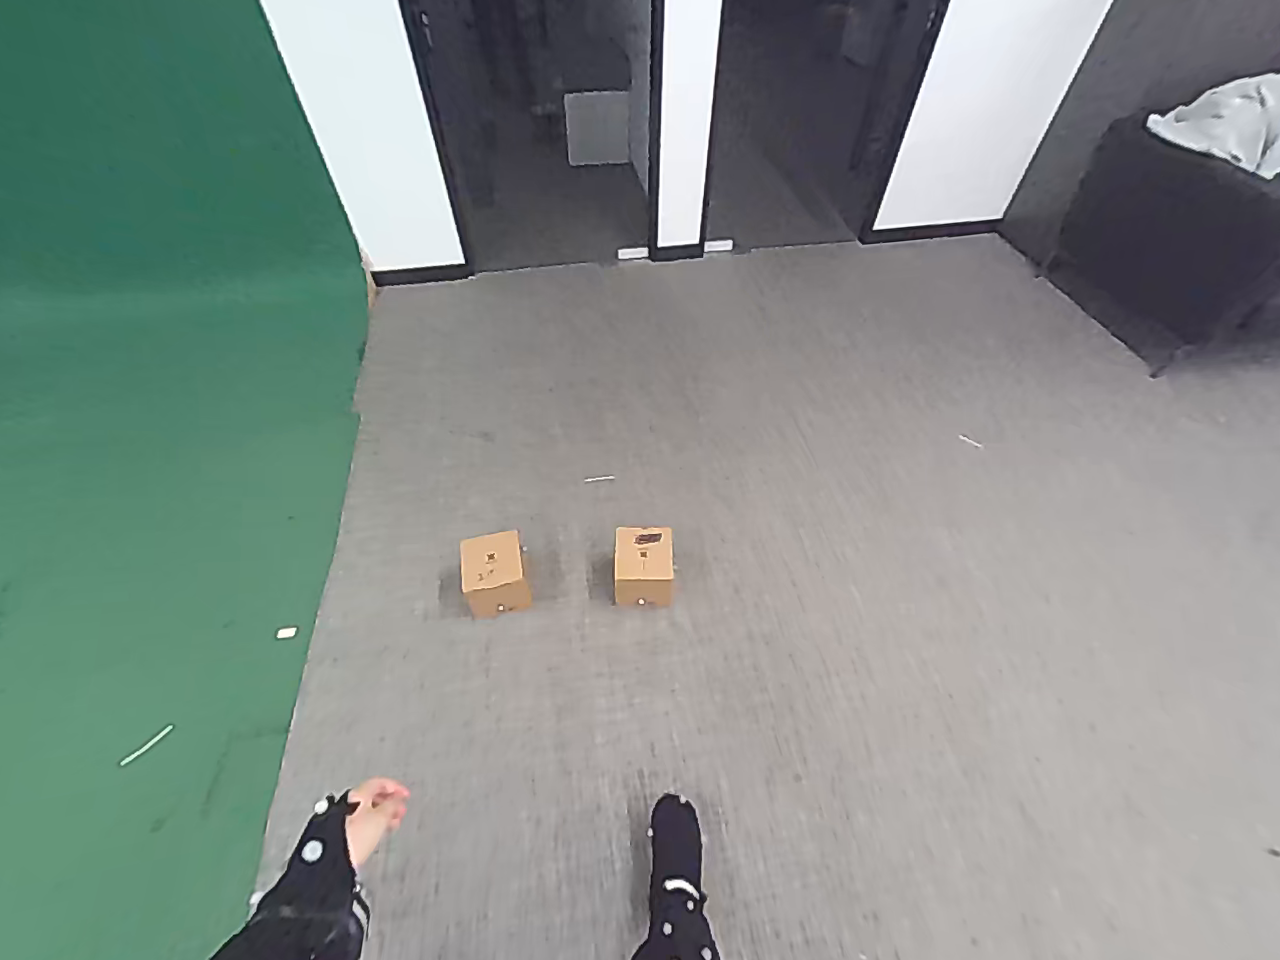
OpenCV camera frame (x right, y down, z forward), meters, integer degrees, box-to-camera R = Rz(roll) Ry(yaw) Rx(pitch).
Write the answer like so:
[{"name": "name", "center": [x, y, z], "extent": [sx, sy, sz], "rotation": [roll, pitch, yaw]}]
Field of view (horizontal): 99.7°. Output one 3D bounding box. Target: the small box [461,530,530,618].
[{"name": "small box", "center": [-0.419, 0.275, 1.572], "extent": [0.168, 0.176, 0.179], "rotation": [-10, 51, -9]}]

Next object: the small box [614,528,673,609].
[{"name": "small box", "center": [0.008, 0.260, 1.592], "extent": [0.168, 0.176, 0.179], "rotation": [1, 51, 0]}]
